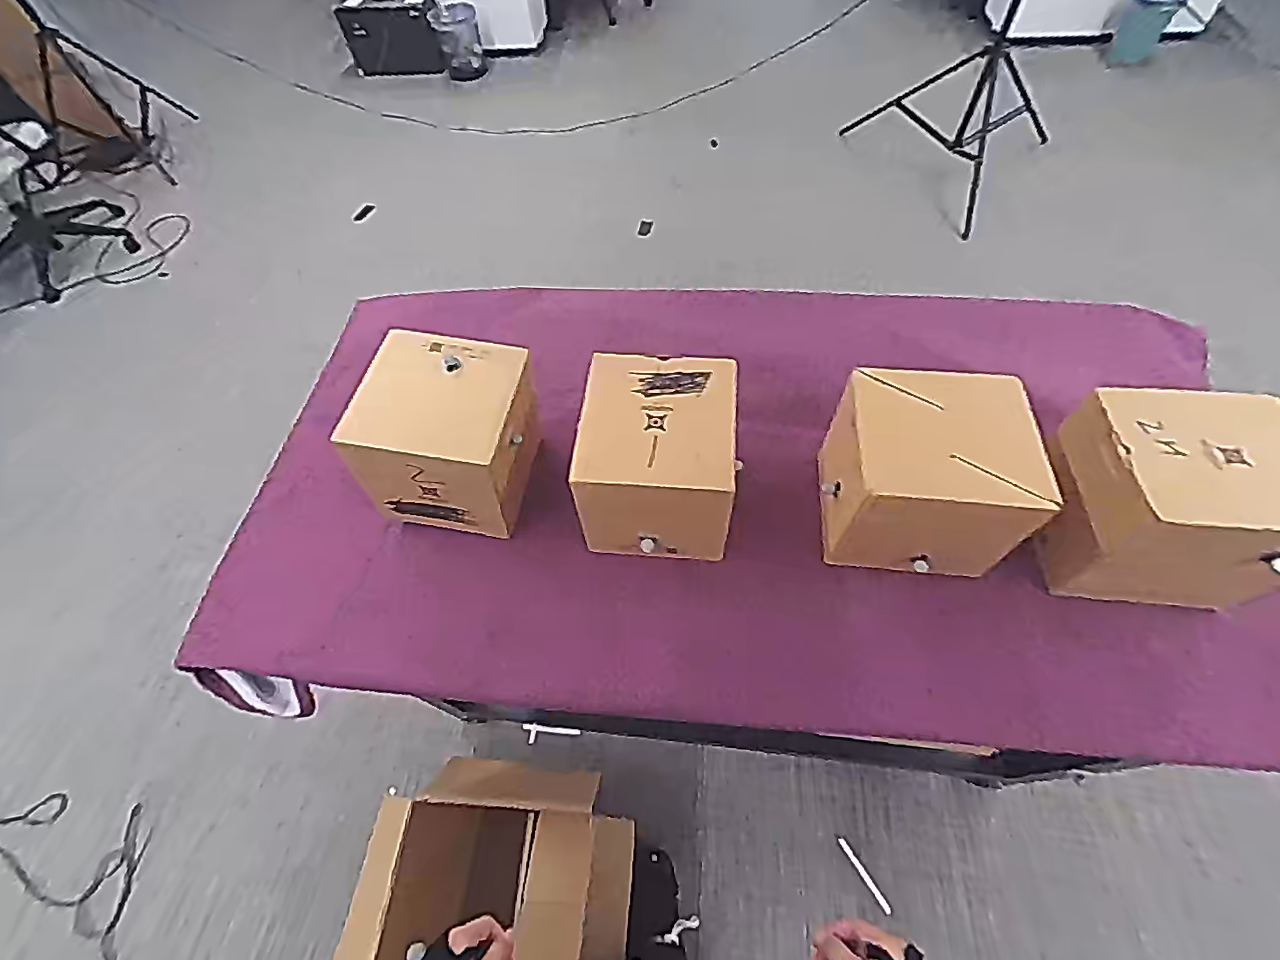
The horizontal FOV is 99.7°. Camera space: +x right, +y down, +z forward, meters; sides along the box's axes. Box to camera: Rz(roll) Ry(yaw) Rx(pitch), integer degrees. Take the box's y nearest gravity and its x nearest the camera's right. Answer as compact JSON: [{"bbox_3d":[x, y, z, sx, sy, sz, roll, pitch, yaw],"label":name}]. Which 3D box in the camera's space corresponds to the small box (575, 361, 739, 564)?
[{"bbox_3d":[0.027,-0.019,0.650,0.168,0.176,0.179,3,58,6],"label":"small box"}]

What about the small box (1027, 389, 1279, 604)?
[{"bbox_3d":[0.555,0.023,0.585,0.179,0.176,0.168,5,55,6],"label":"small box"}]

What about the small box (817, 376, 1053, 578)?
[{"bbox_3d":[0.313,-0.004,0.618,0.179,0.176,0.168,4,56,7],"label":"small box"}]
